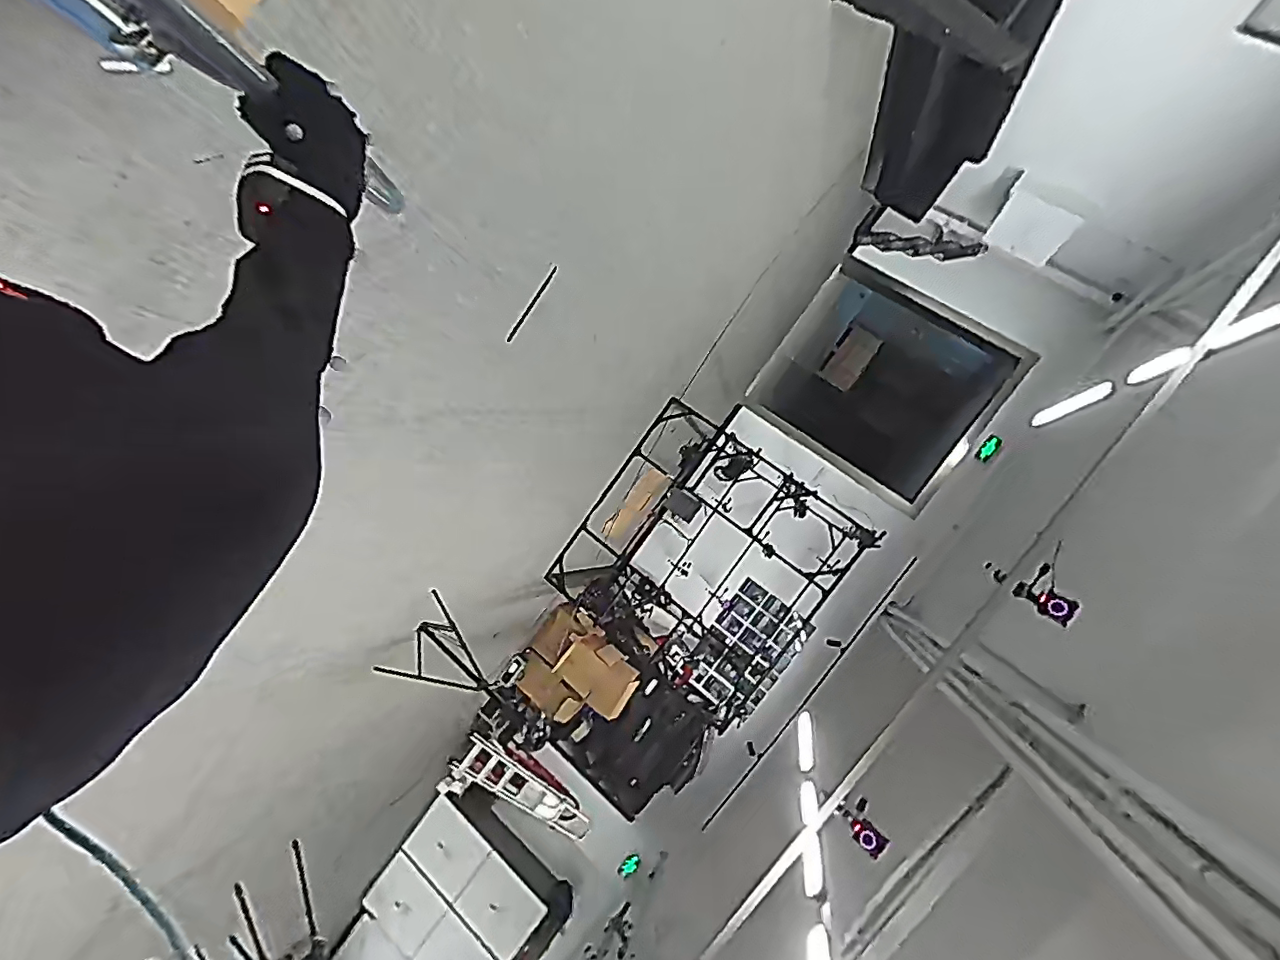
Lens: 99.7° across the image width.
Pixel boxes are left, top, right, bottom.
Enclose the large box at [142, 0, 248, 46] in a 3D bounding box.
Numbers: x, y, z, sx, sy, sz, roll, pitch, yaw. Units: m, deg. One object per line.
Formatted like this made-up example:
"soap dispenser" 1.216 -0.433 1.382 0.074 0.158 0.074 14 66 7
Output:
"large box" -0.657 -0.820 0.579 0.320 0.320 0.408 -53 166 3
